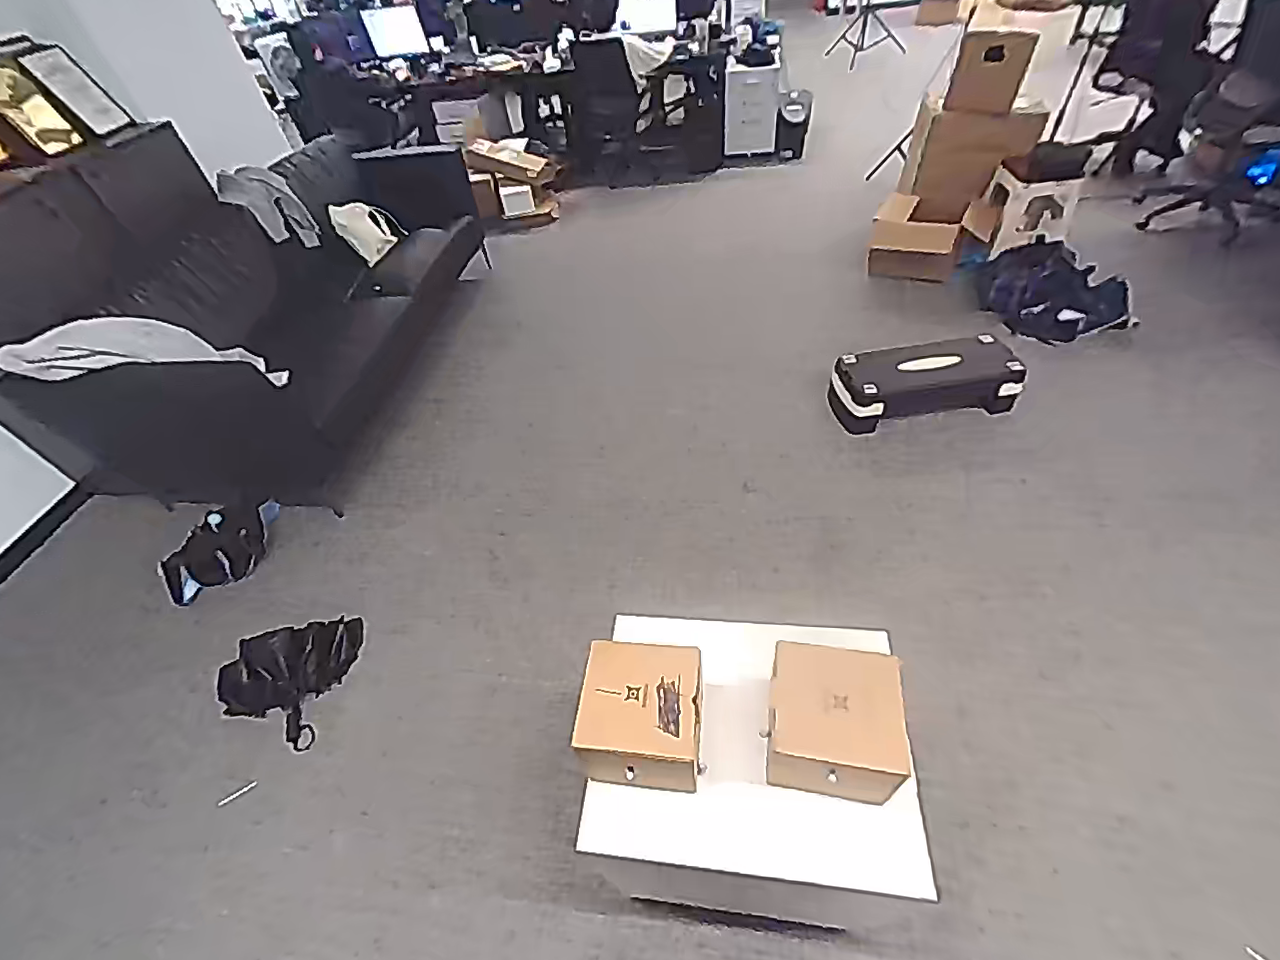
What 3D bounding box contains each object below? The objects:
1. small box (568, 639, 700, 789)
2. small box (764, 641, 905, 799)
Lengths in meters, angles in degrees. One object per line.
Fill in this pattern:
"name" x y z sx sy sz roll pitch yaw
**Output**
"small box" 0.003 0.373 0.856 0.179 0.176 0.168 1 47 10
"small box" 0.283 0.367 0.824 0.179 0.176 0.168 4 49 12
